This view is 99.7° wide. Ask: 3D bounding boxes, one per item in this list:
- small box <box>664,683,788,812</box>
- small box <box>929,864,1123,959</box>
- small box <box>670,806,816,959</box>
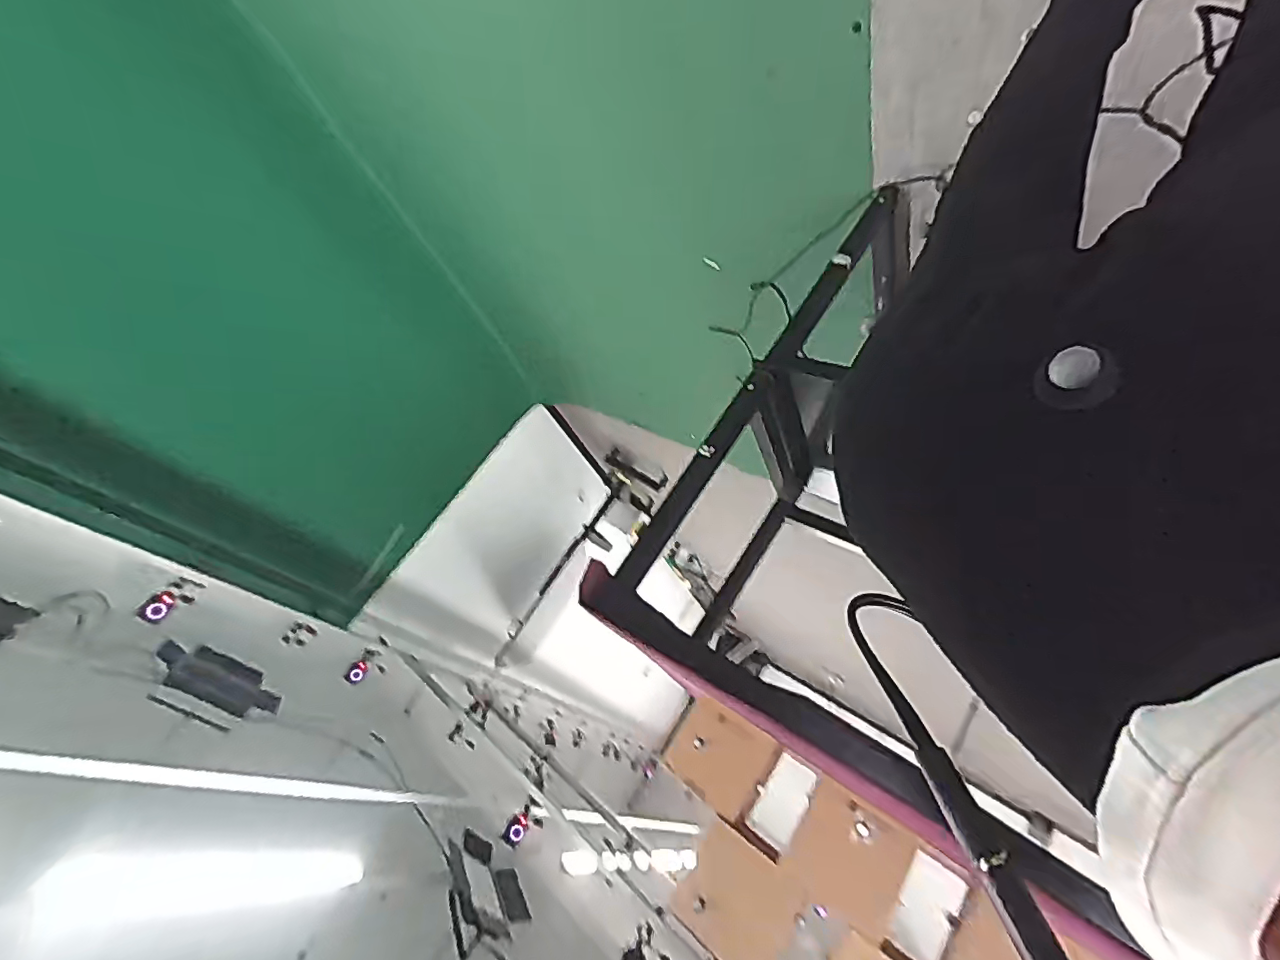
[{"bbox_3d":[0.179,0.530,1.082,0.168,0.176,0.179,26,163,32],"label":"small box"},{"bbox_3d":[0.549,0.697,0.783,0.179,0.176,0.168,26,162,36],"label":"small box"},{"bbox_3d":[0.187,0.703,0.954,0.179,0.176,0.168,24,162,35],"label":"small box"}]
